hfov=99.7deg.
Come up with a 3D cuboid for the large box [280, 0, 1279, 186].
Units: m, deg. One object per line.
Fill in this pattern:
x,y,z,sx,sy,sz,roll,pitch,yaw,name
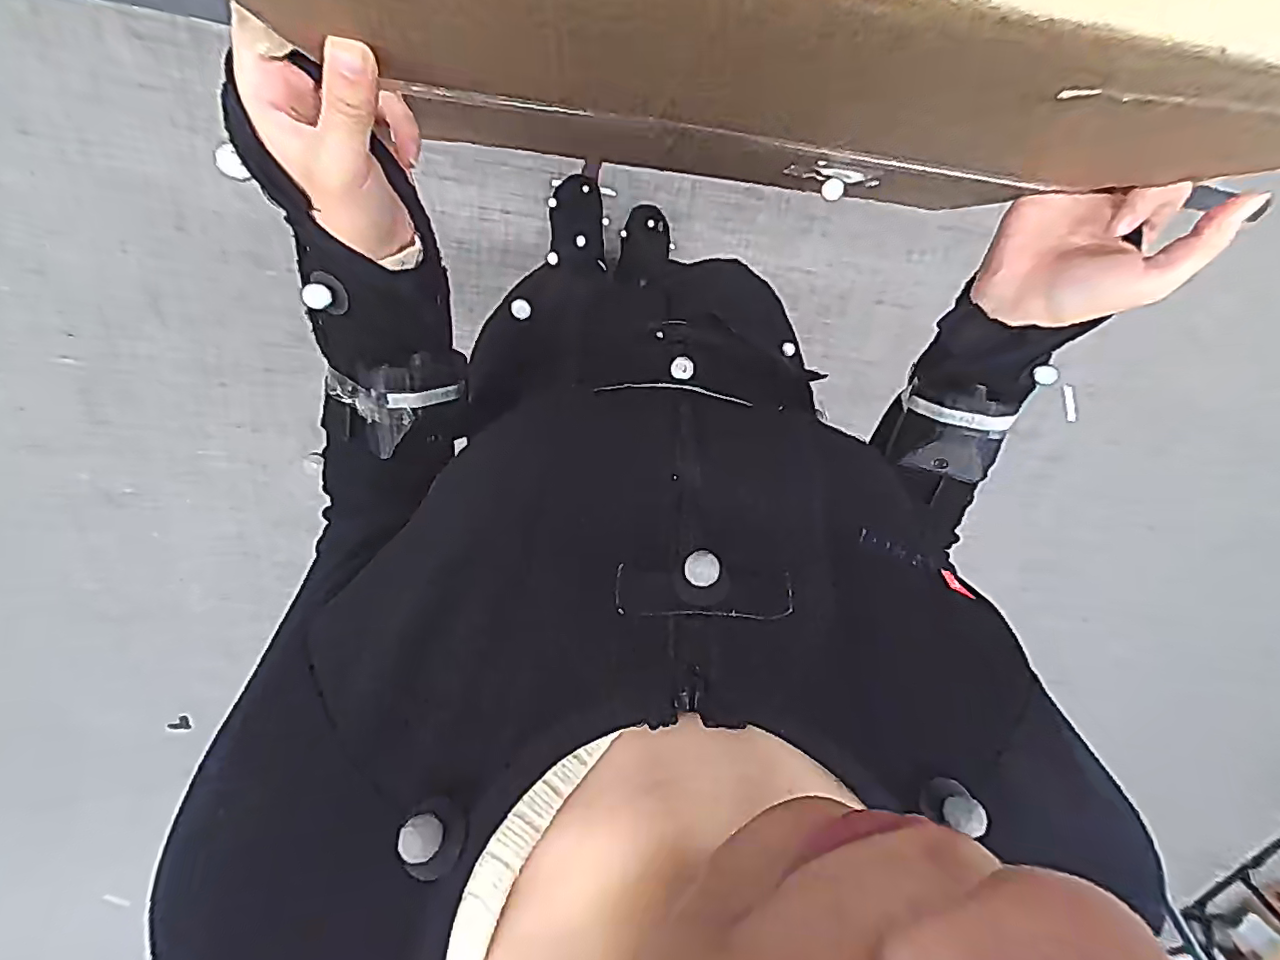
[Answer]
0.072,-0.322,0.204,0.408,0.320,0.320,2,114,-9,large box
